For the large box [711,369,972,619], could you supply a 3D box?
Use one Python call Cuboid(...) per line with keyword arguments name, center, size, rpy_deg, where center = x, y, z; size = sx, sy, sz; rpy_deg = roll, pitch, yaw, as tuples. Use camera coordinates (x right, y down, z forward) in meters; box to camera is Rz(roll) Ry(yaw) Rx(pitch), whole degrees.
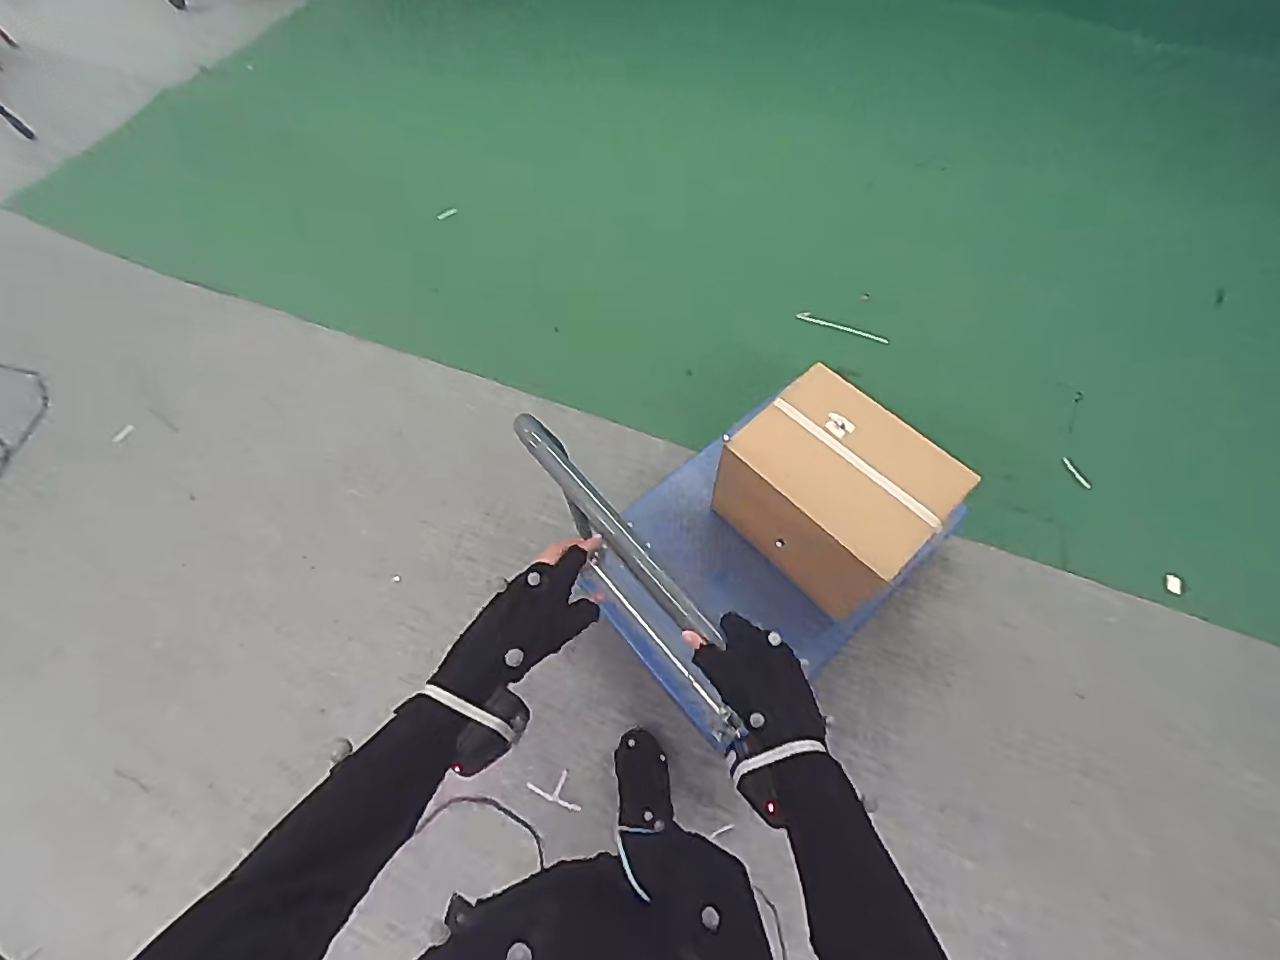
Cuboid(name="large box", center=(0.415, 0.037, 1.213), size=(0.320, 0.320, 0.408), rpy_deg=(-39, 66, -18))
